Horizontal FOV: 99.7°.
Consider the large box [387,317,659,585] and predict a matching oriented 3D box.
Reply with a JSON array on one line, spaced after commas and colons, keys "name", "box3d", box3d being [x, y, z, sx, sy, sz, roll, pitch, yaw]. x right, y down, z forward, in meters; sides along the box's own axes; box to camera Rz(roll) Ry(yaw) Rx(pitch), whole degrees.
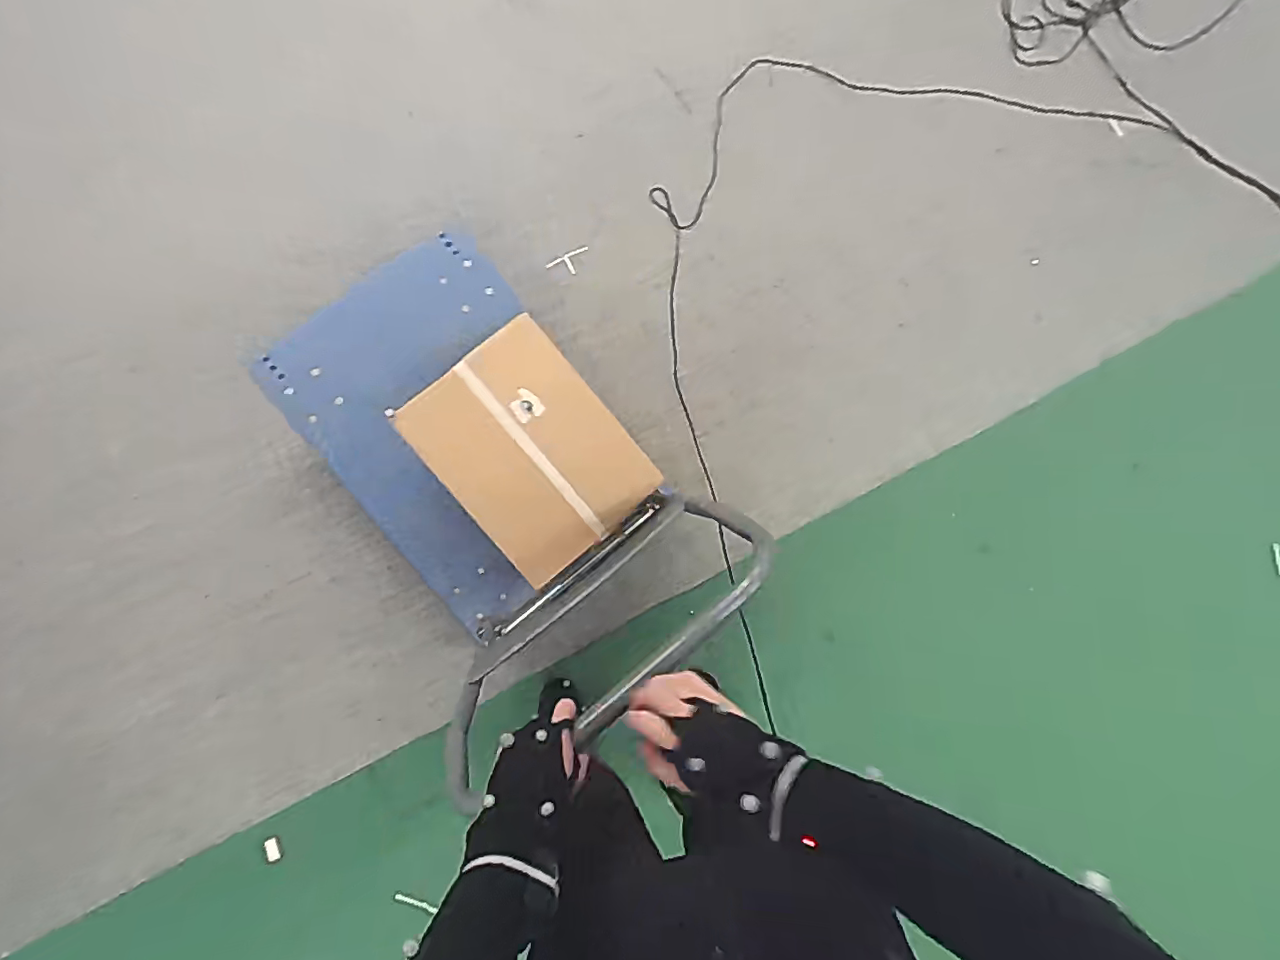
[{"name": "large box", "box3d": [-0.219, -0.048, 1.121, 0.320, 0.320, 0.408, -41, 93, -7]}]
